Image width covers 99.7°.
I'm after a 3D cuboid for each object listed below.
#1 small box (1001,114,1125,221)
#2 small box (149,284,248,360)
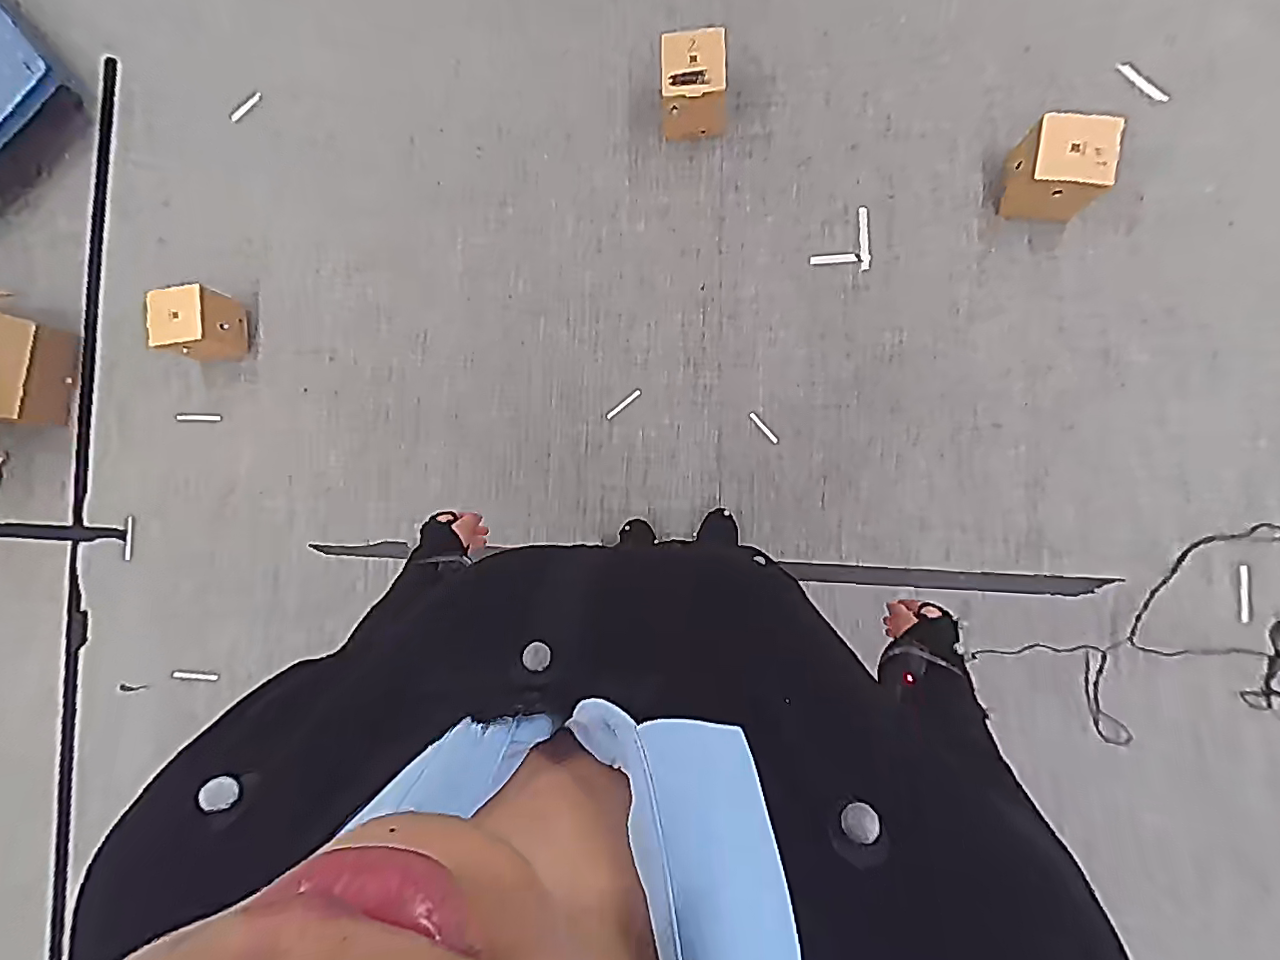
[{"bbox_3d":[1.039,-0.769,1.345,0.179,0.176,0.168,10,89,7],"label":"small box"},{"bbox_3d":[-1.321,-0.471,1.631,0.179,0.176,0.168,-6,87,7],"label":"small box"}]
